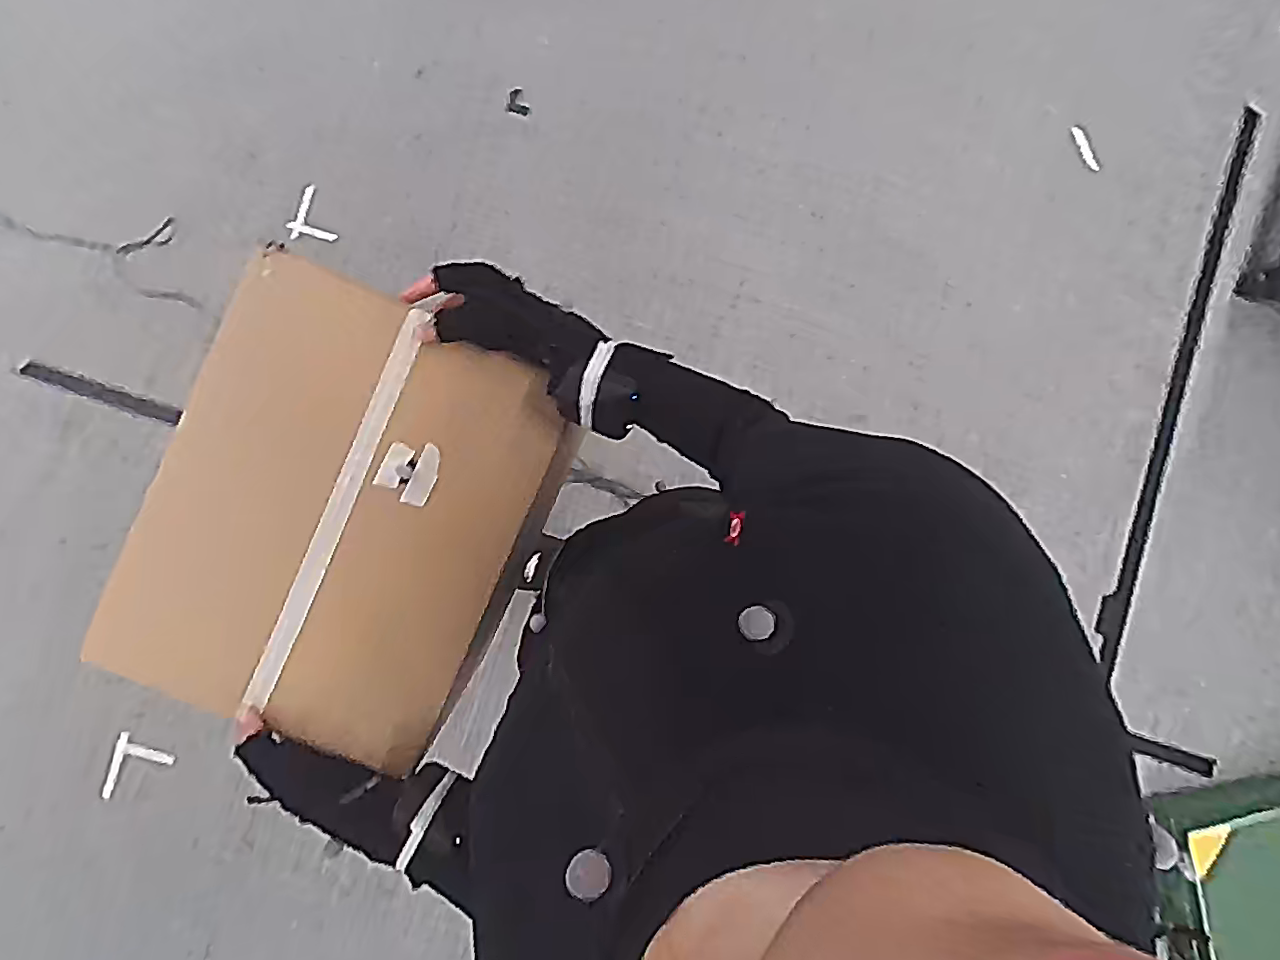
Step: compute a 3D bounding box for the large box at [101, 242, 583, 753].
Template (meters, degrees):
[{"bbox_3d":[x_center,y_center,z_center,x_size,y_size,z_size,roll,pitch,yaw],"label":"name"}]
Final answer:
[{"bbox_3d":[-0.288,0.019,0.651,0.320,0.320,0.408,24,90,-5],"label":"large box"}]
